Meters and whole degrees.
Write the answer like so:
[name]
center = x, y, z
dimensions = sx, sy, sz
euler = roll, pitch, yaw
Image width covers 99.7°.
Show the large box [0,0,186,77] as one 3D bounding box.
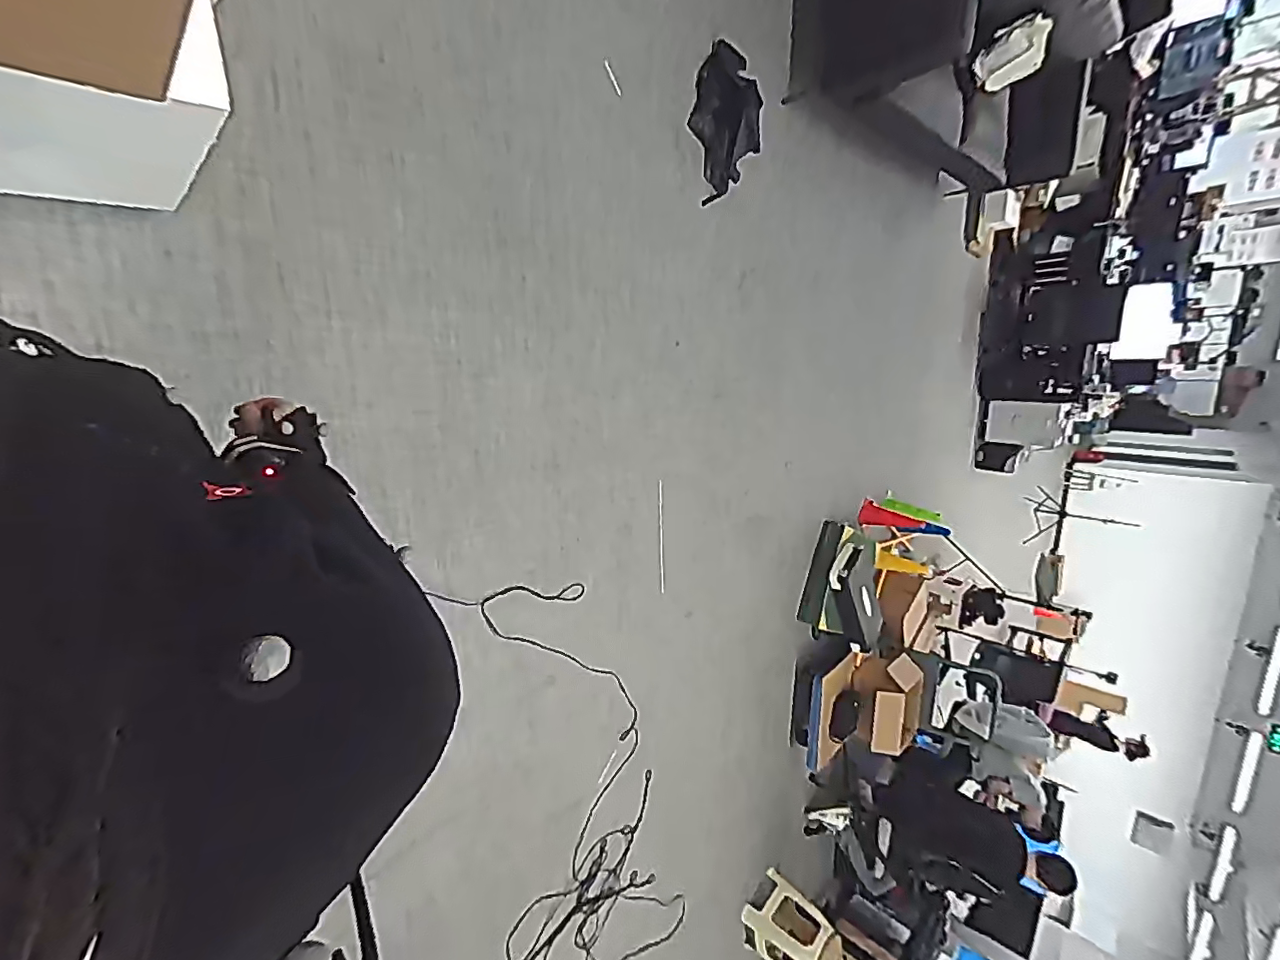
[large box]
center = -0.538, -0.503, 0.293
dimensions = 0.408, 0.320, 0.320
euler = -16, 110, -45
